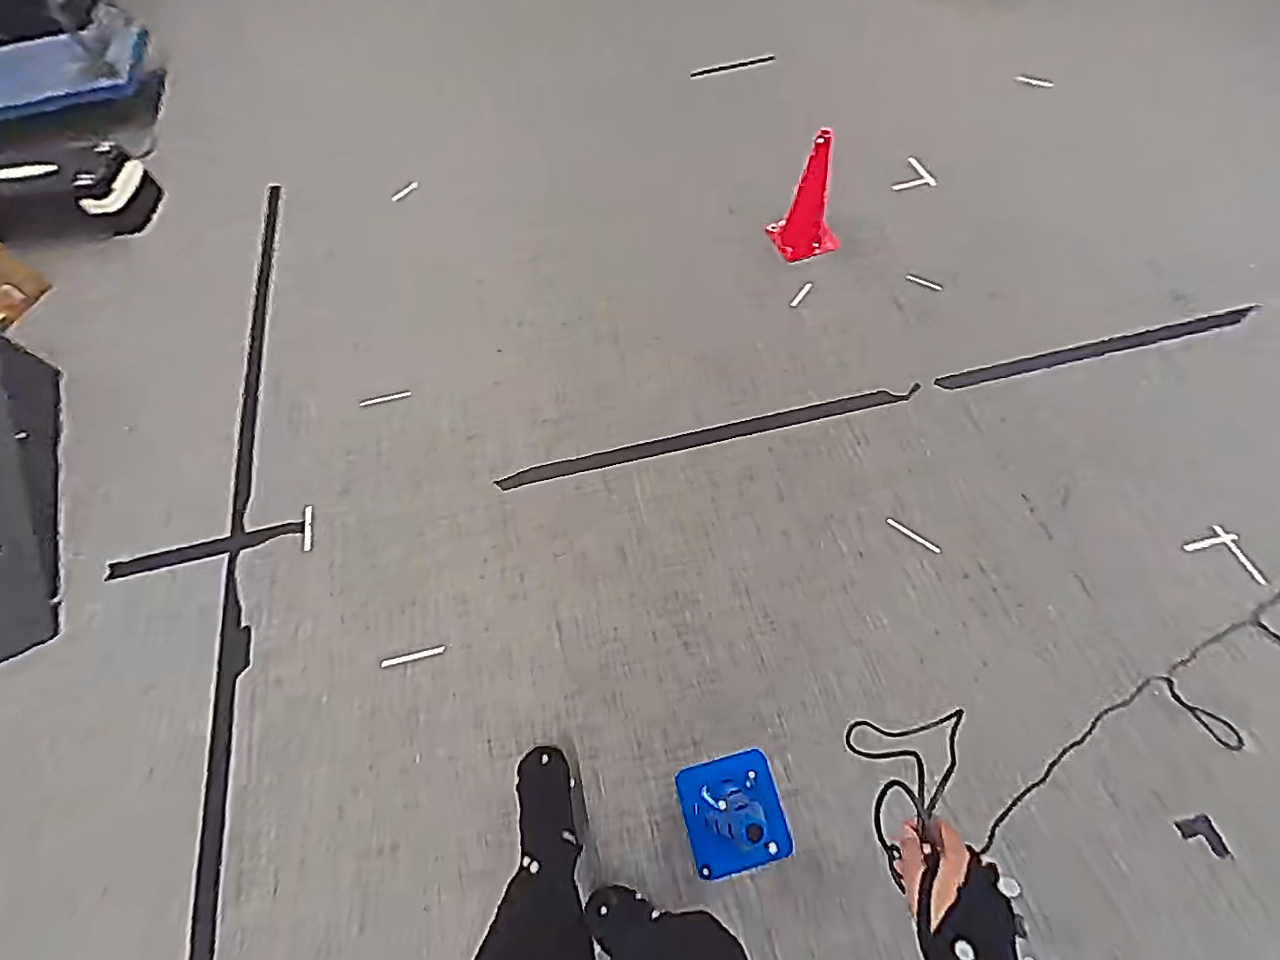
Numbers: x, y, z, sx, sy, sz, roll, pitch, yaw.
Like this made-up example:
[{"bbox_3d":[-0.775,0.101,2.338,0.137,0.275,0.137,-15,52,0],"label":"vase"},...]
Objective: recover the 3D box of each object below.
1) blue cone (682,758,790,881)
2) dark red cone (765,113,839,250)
[{"bbox_3d":[0.181,0.607,0.950,0.193,0.380,0.192,-13,63,-3],"label":"blue cone"},{"bbox_3d":[0.544,-0.942,1.704,0.202,0.394,0.201,-20,64,-7],"label":"dark red cone"}]
